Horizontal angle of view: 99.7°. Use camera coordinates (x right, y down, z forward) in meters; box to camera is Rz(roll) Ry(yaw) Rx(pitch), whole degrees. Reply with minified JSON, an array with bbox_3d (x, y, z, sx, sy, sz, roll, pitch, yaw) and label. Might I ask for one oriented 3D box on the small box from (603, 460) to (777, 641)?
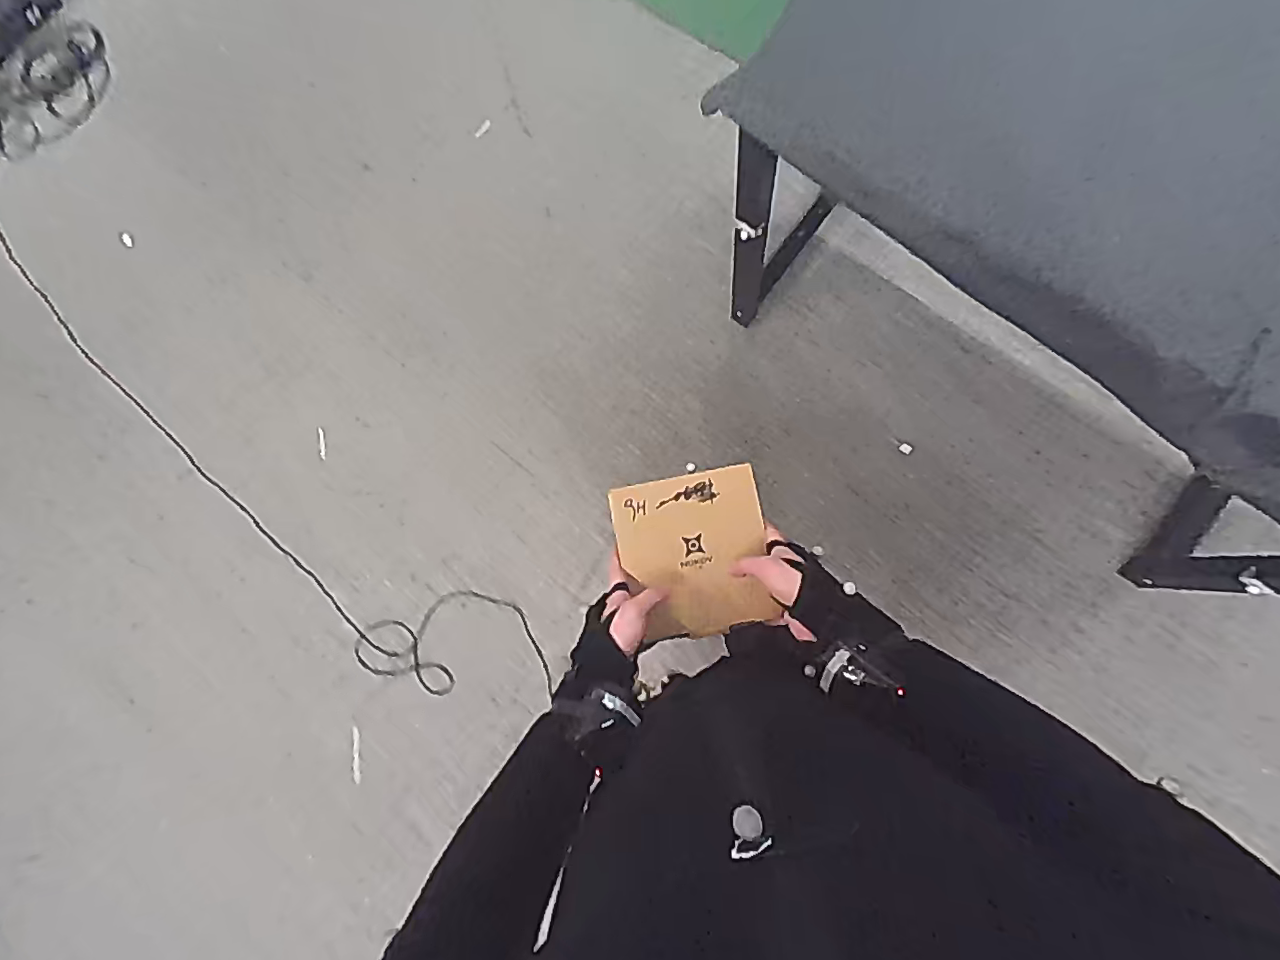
[{"bbox_3d":[0.055,0.079,0.666,0.168,0.176,0.179,-11,87,-1],"label":"small box"}]
